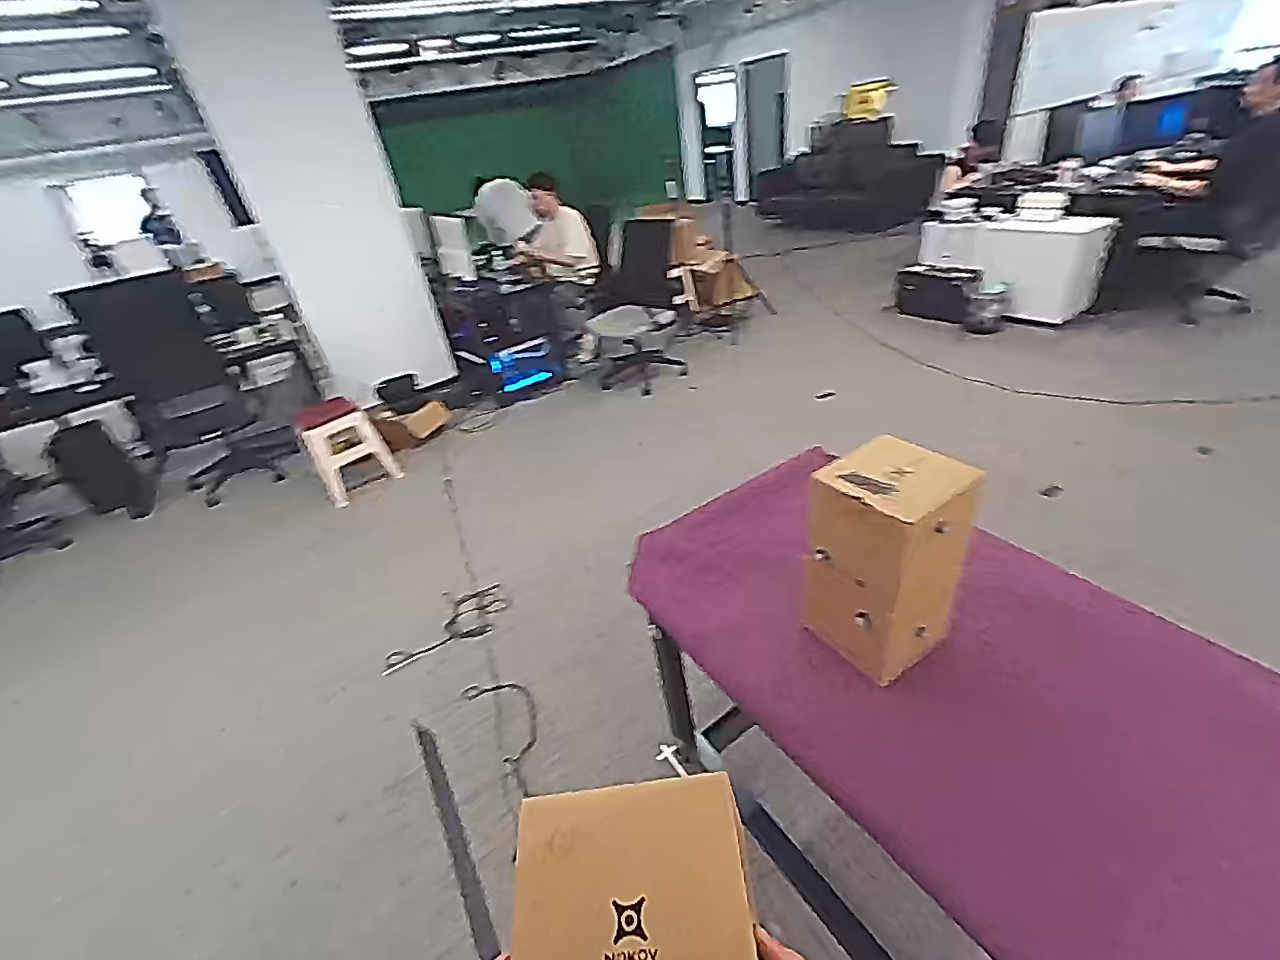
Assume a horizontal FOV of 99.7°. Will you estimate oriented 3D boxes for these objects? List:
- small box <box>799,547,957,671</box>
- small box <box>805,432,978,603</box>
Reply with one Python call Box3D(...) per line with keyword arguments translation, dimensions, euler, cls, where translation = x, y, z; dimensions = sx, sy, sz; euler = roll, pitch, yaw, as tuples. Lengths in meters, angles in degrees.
Box3D(translation=(0.391, 0.193, 0.913), dimensions=(0.168, 0.176, 0.179), euler=(-25, 36, -22), cls="small box")
Box3D(translation=(0.374, 0.055, 0.825), dimensions=(0.179, 0.176, 0.168), euler=(-26, 37, -24), cls="small box")
